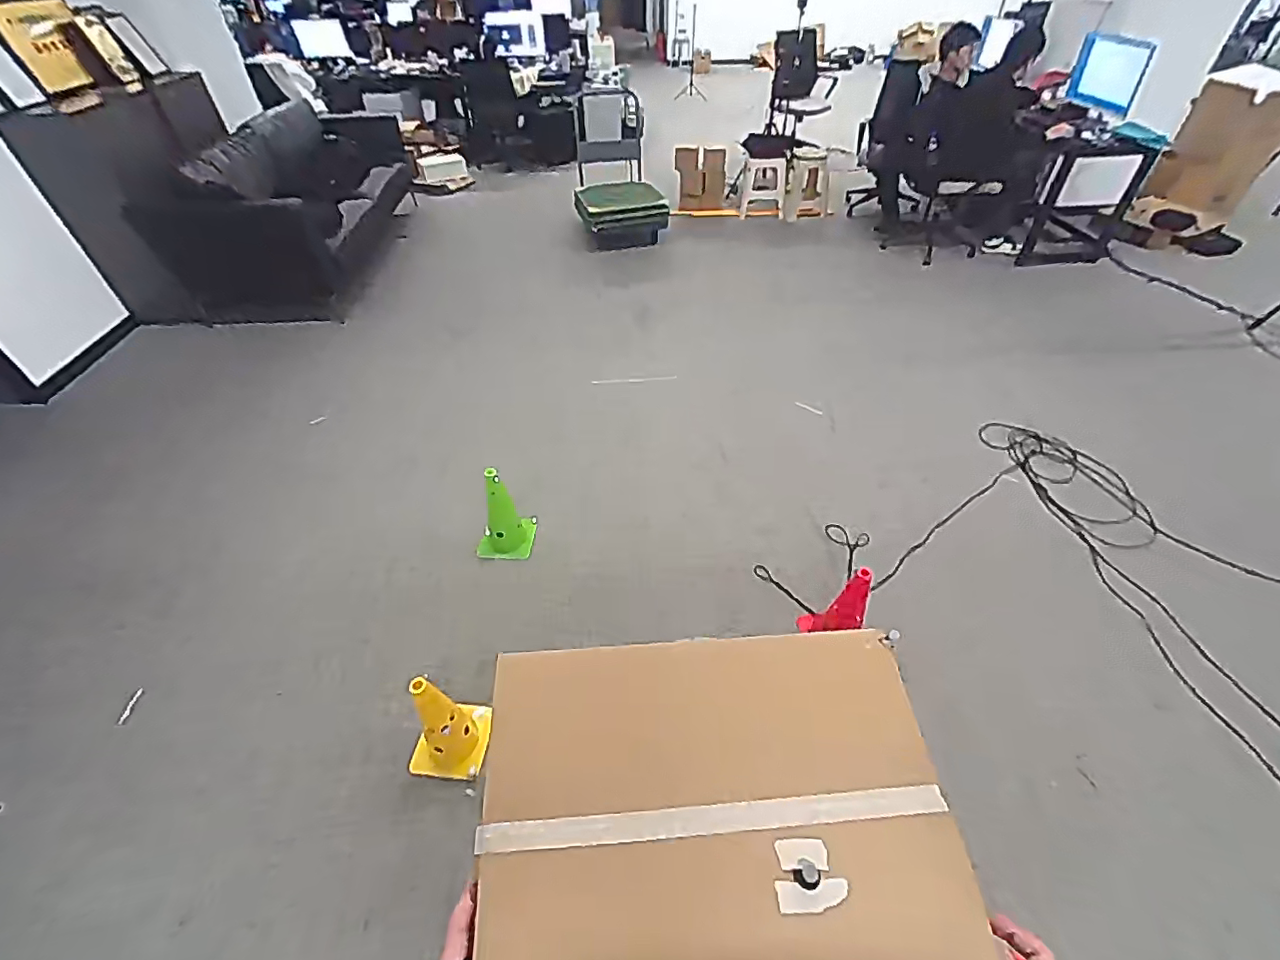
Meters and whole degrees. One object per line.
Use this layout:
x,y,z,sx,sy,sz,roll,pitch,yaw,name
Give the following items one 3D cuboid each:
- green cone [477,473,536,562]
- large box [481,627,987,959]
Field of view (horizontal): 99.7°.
-0.519,0.112,1.972,0.200,0.368,0.202,1,45,3,green cone
0.061,0.383,0.602,0.408,0.320,0.320,-3,55,-3,large box
